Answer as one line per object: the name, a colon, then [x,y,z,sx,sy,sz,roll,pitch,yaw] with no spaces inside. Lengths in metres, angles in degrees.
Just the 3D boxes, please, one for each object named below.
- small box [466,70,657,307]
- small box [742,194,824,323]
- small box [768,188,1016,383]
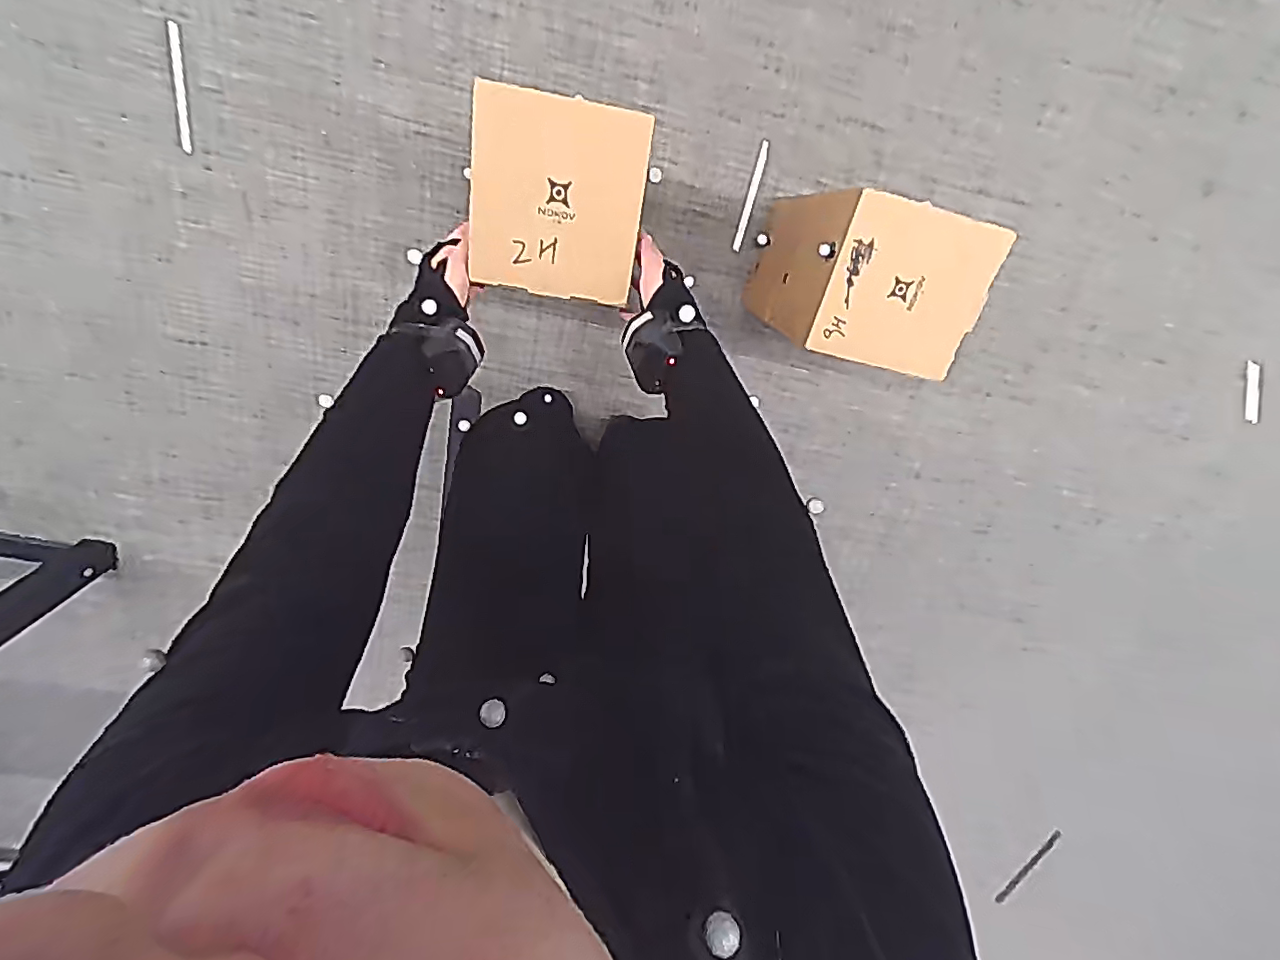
small box: [-0.084,-0.302,0.585,0.168,0.176,0.179,8,116,-7]
small box: [0.271,-0.303,0.789,0.179,0.176,0.168,14,115,-9]
small box: [0.277,-0.233,0.642,0.179,0.176,0.168,12,115,-9]
